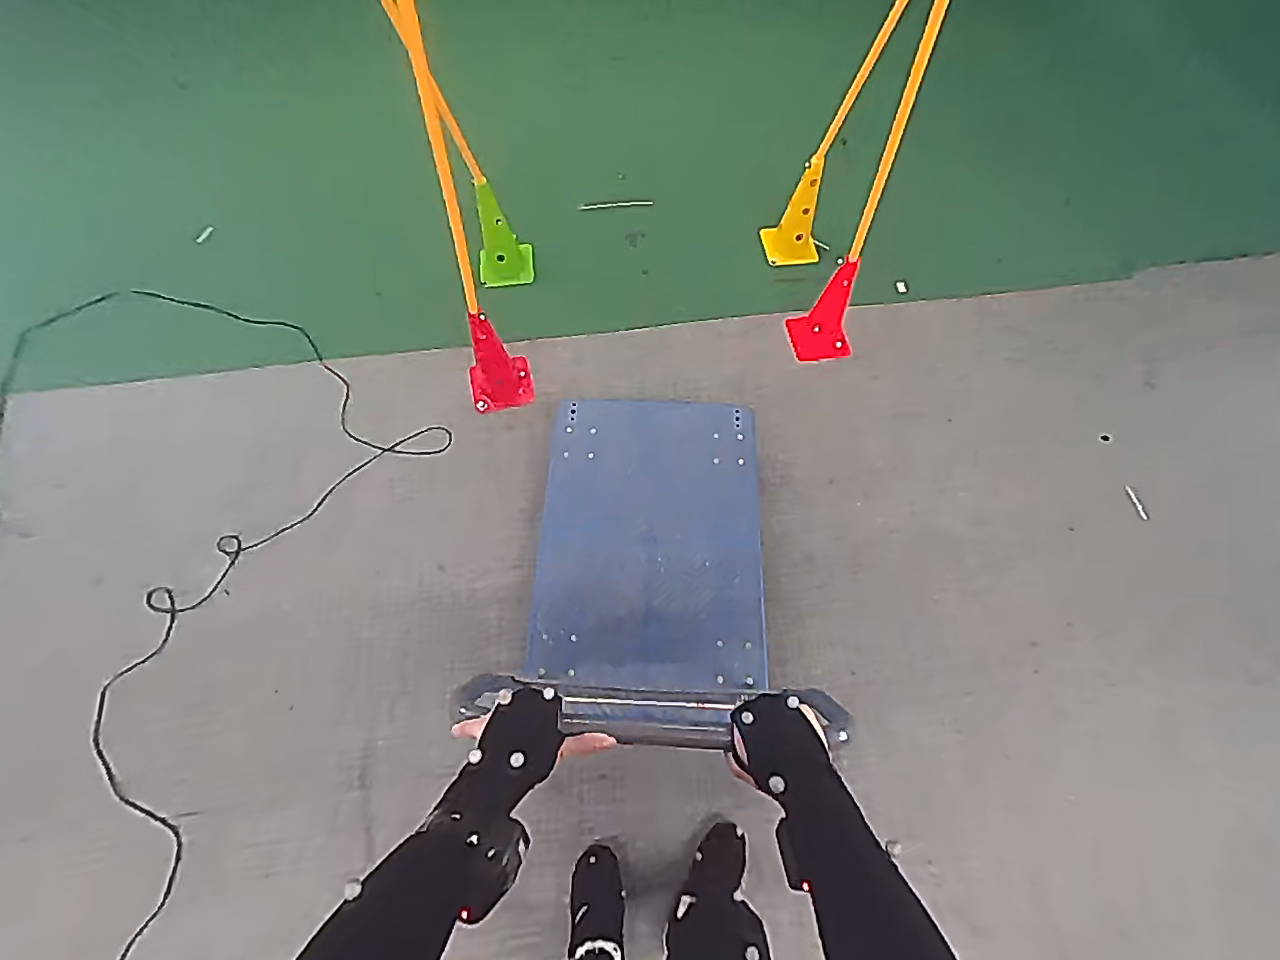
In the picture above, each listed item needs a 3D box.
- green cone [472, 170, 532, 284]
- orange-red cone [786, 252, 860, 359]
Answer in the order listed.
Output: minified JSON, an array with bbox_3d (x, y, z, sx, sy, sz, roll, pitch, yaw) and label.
[{"bbox_3d":[-0.512,-0.895,1.888,0.200,0.368,0.202,-7,64,-3],"label":"green cone"},{"bbox_3d":[0.629,-0.586,1.756,0.198,0.360,0.199,-6,63,-4],"label":"orange-red cone"}]
